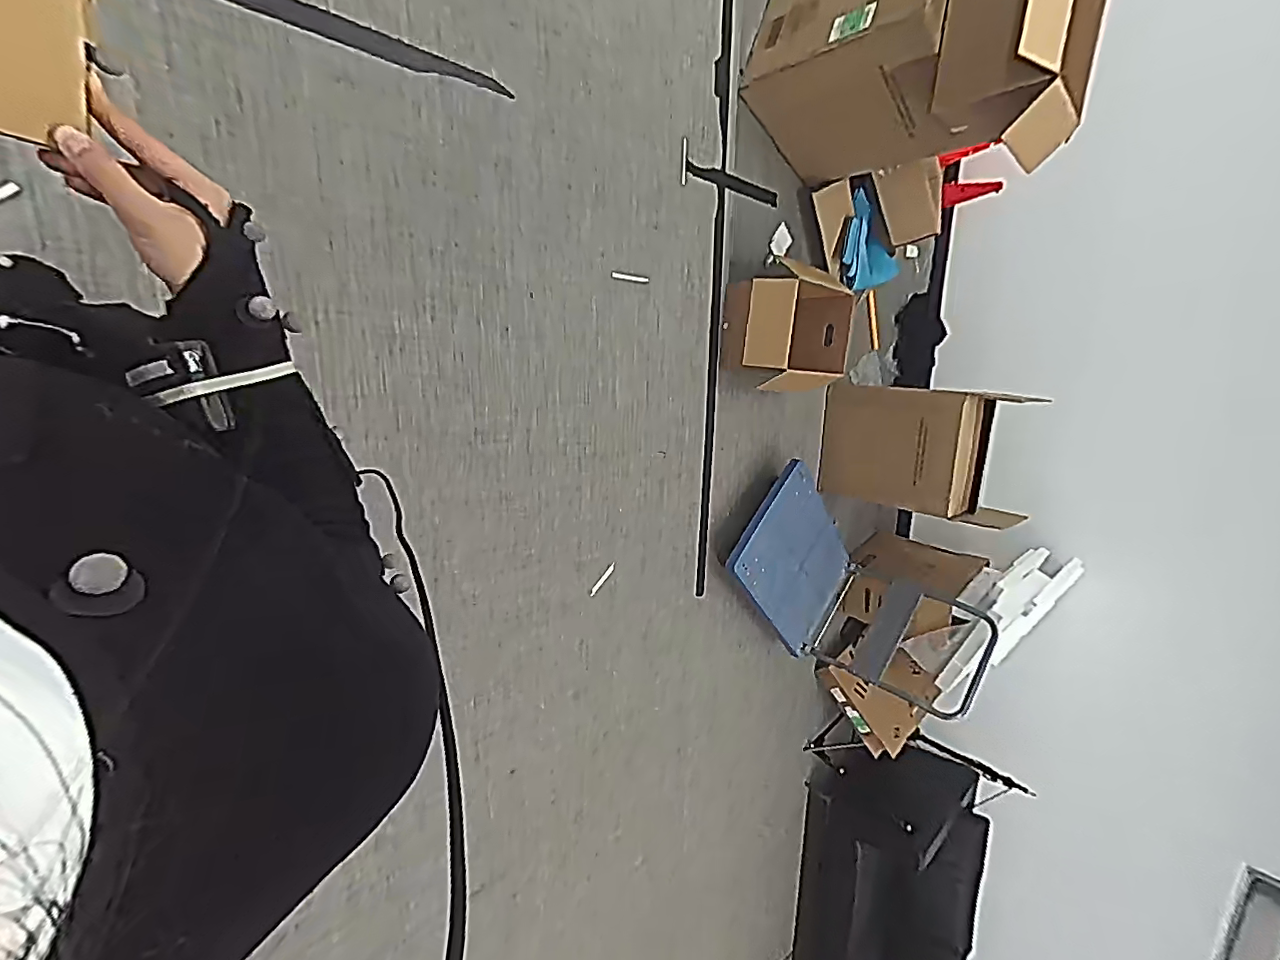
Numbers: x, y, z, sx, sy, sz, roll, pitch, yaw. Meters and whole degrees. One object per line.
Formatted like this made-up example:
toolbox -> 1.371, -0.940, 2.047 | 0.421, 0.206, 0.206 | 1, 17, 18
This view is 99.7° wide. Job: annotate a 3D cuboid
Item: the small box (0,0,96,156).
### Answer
small box -> -0.406, -0.293, 0.279 | 0.179, 0.176, 0.168 | 0, 113, -43
